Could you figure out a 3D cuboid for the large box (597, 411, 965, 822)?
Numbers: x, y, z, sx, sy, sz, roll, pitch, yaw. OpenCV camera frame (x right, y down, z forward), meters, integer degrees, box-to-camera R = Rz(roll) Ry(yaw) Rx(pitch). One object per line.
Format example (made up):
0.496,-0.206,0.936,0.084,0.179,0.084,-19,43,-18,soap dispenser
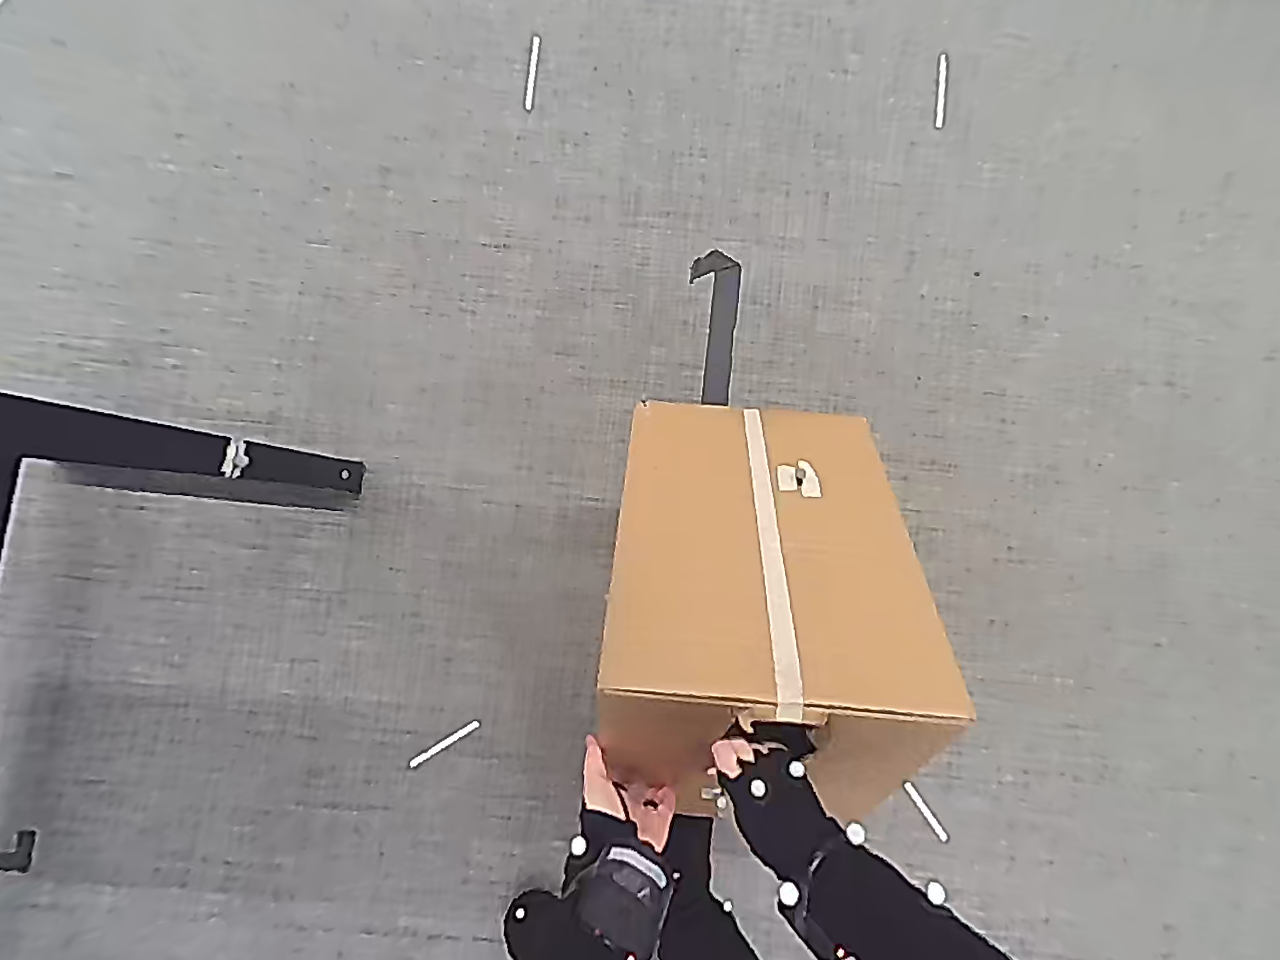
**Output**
0.121,0.159,0.686,0.320,0.320,0.408,5,42,0,large box
